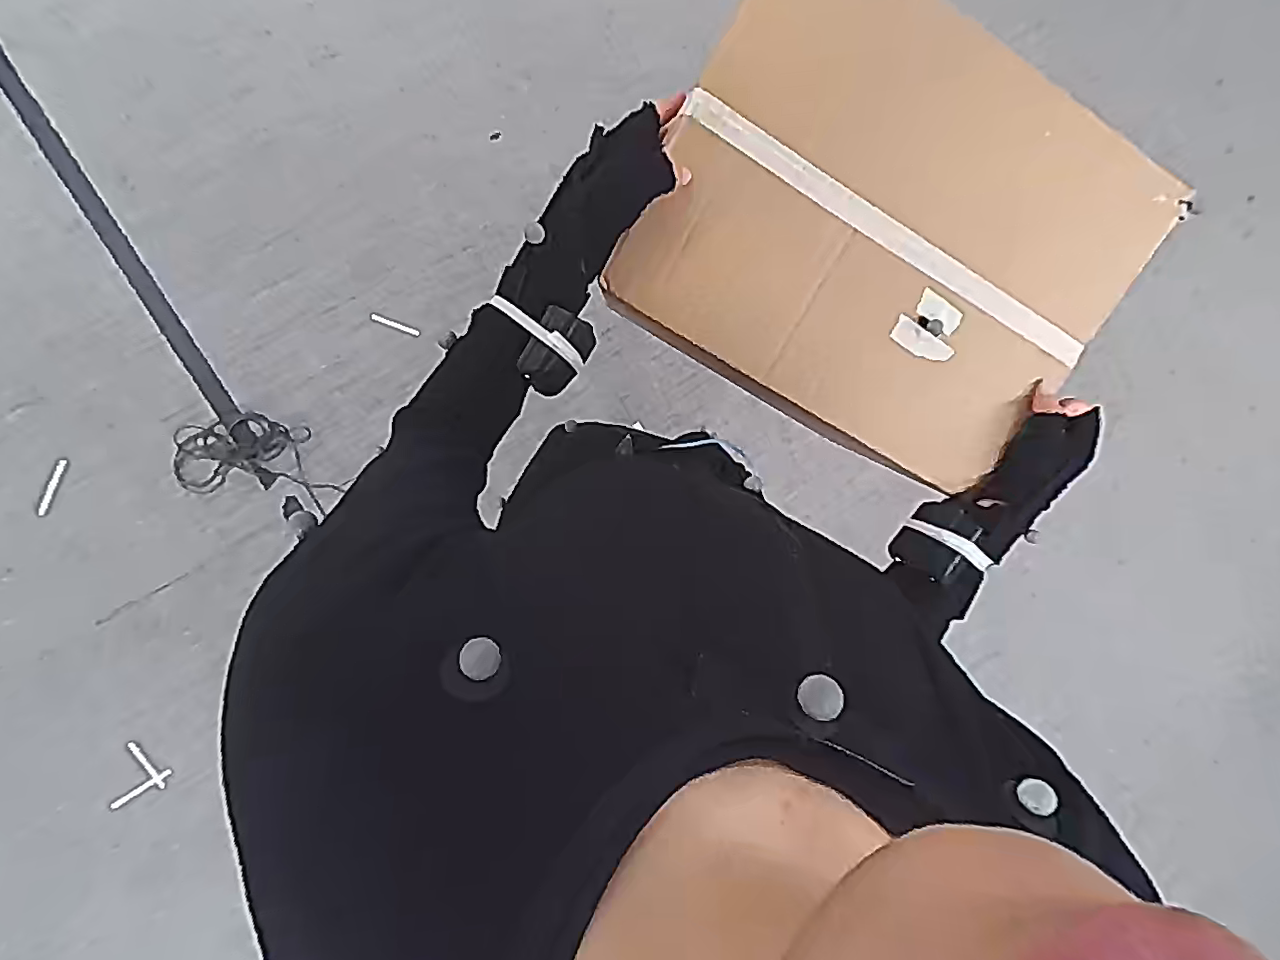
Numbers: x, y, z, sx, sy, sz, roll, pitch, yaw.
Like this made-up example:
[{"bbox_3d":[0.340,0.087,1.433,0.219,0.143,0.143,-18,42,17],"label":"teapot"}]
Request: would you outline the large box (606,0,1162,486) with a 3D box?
[{"bbox_3d":[0.204,-0.248,0.611,0.408,0.320,0.320,28,103,-10],"label":"large box"}]
